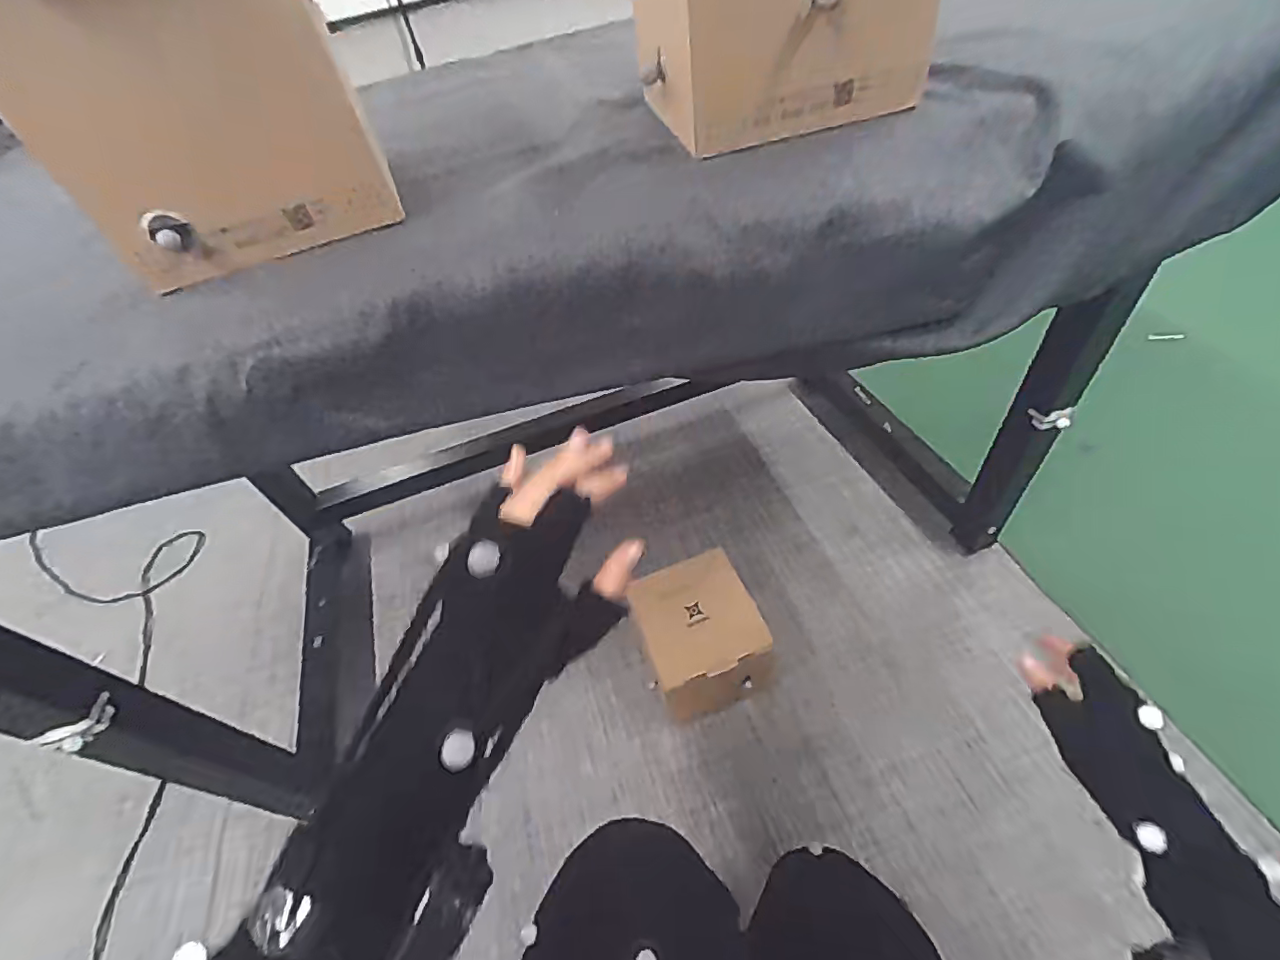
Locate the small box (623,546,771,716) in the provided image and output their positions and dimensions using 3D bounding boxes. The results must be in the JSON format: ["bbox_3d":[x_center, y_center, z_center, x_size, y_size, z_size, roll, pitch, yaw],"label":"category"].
[{"bbox_3d":[0.089,0.240,0.837,0.168,0.176,0.179,-20,47,-8],"label":"small box"}]

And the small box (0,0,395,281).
[{"bbox_3d":[-0.283,-0.255,0.361,0.168,0.176,0.179,-23,47,-9],"label":"small box"}]
